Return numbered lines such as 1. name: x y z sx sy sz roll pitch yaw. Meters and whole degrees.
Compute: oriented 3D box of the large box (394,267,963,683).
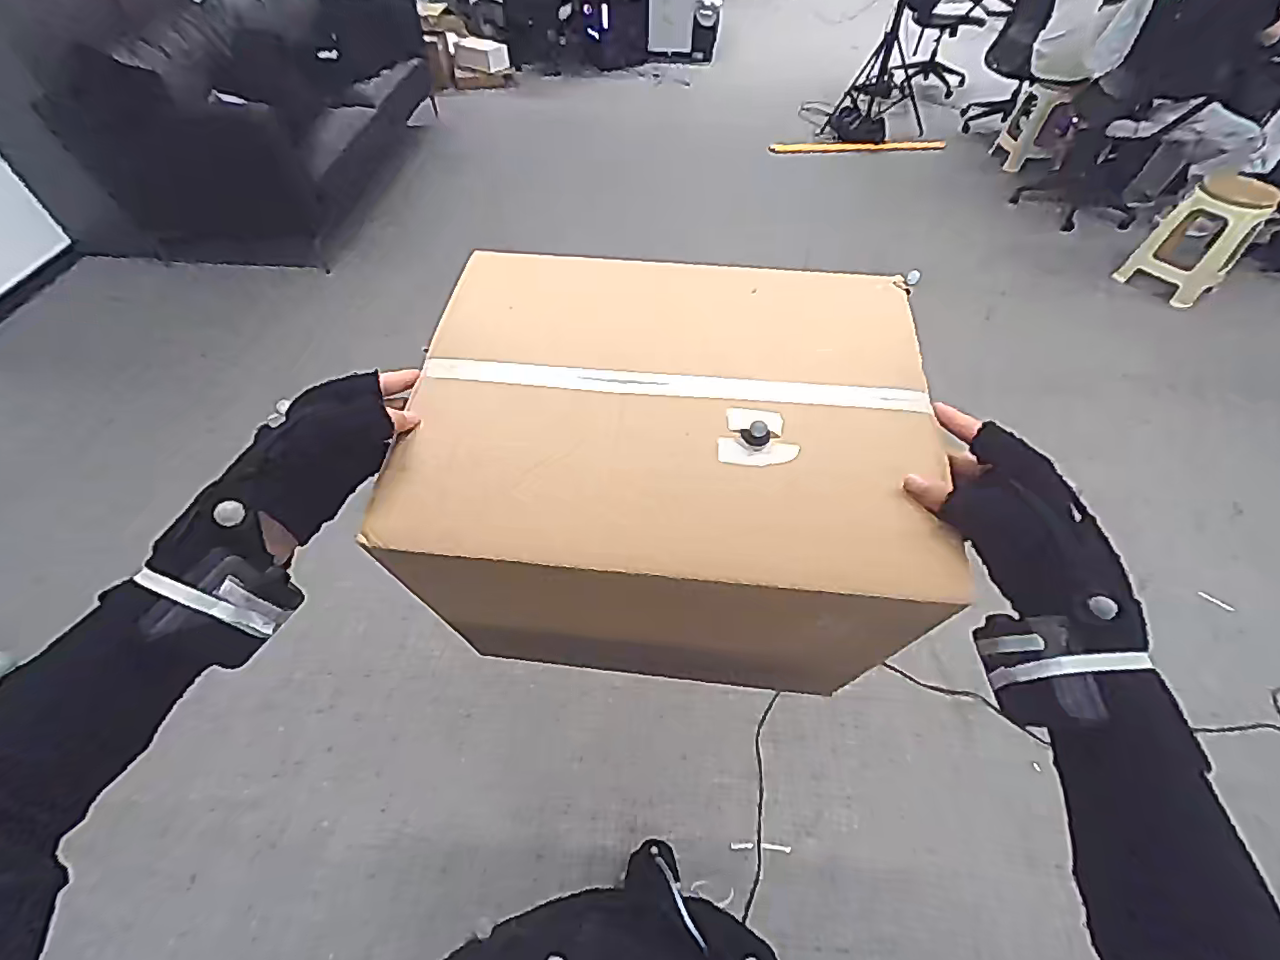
1. large box: 0.033 0.011 0.574 0.408 0.320 0.320 5 59 3
